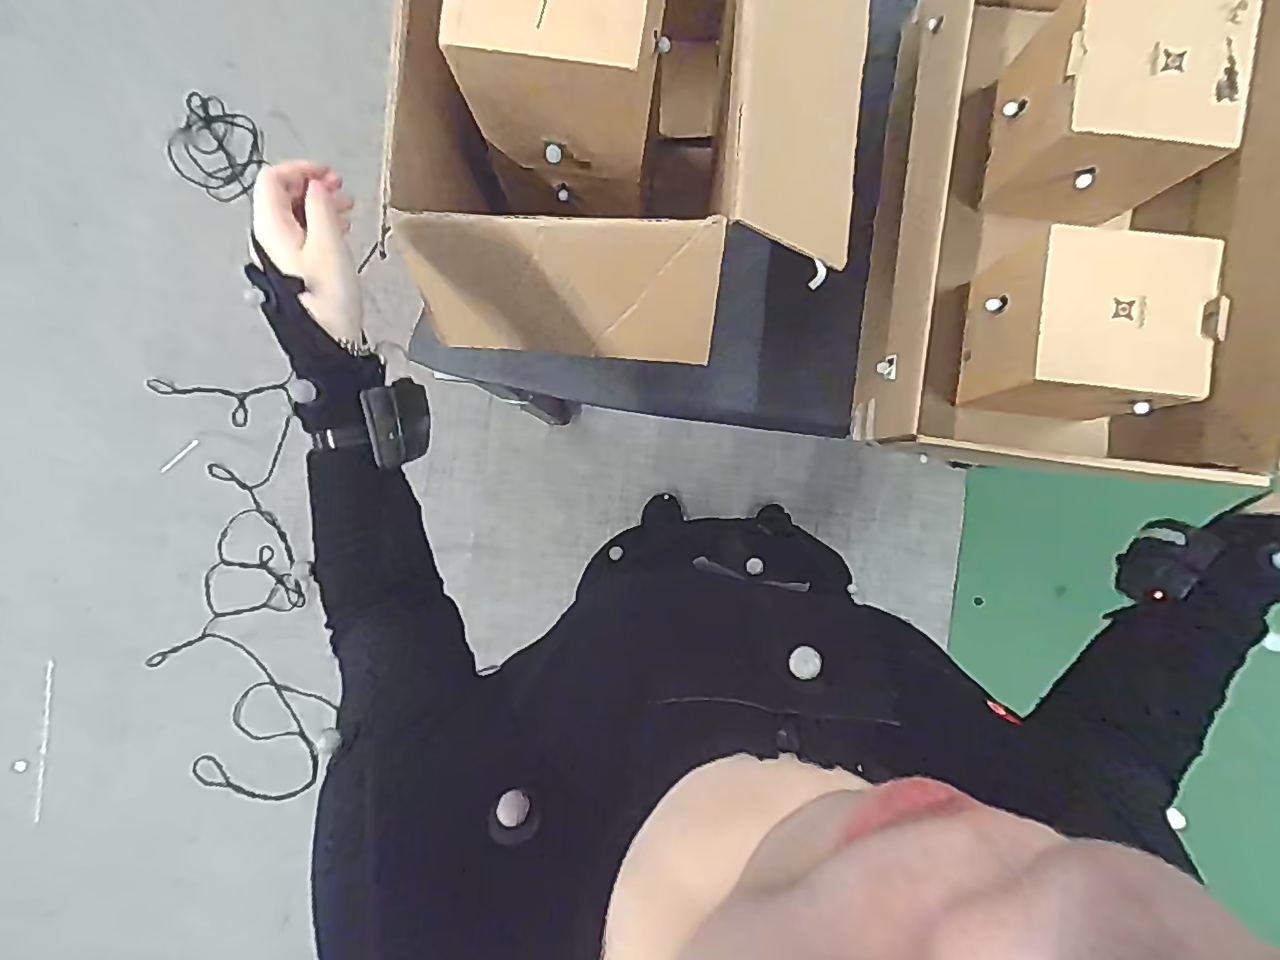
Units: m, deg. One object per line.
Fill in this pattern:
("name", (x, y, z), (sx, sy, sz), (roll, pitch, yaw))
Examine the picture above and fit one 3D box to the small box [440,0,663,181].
("small box", (-0.069, -0.426, 0.517), (0.168, 0.176, 0.179), (9, 92, 1))
